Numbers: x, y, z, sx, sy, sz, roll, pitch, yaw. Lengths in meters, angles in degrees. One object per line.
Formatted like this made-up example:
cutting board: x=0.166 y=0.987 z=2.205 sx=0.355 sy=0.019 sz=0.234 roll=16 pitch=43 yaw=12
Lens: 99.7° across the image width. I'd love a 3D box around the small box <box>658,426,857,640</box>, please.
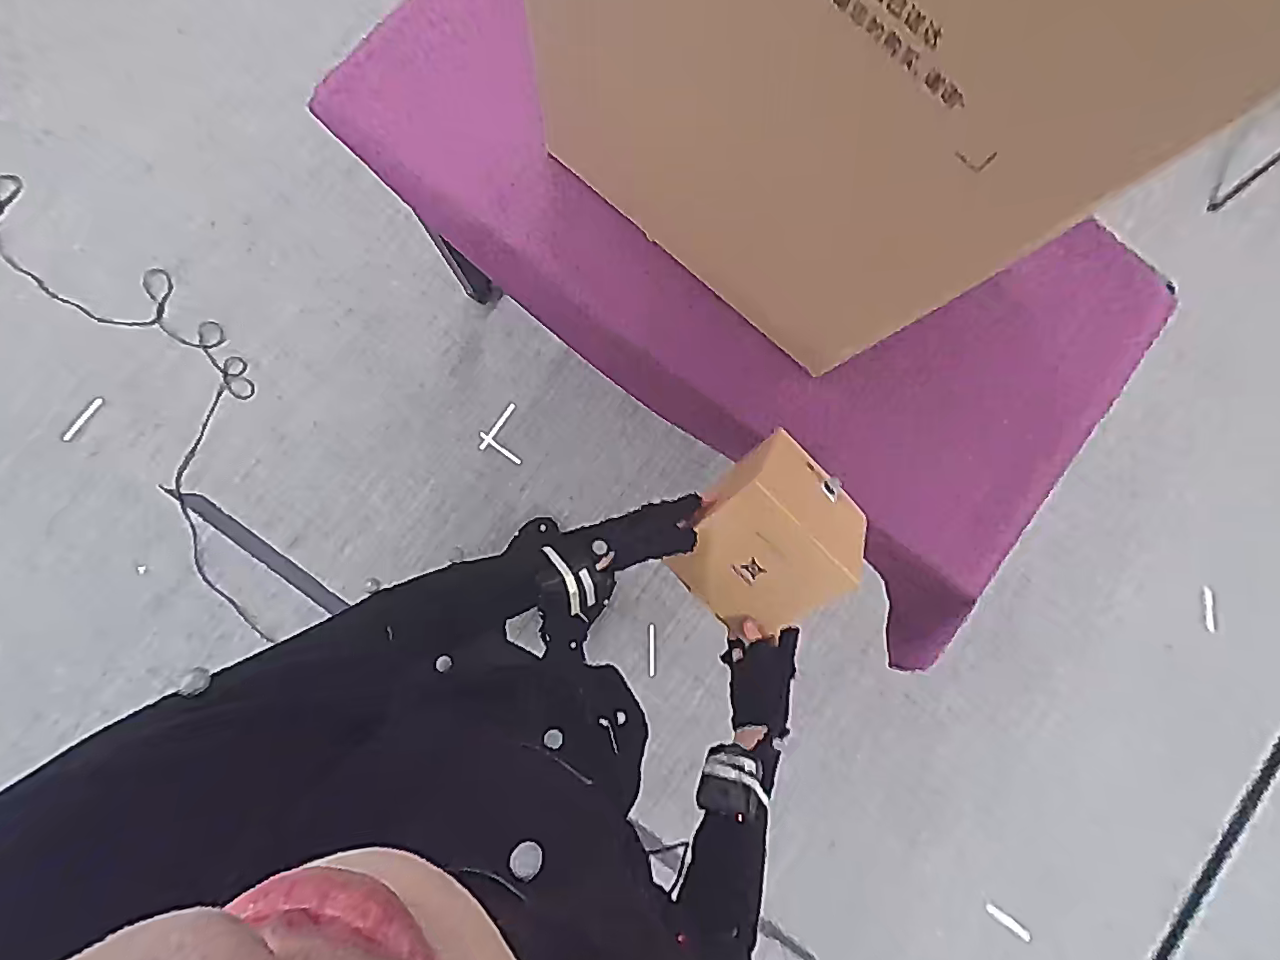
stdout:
small box: x=0.158 y=0.062 z=0.692 sx=0.168 sy=0.176 sz=0.179 roll=43 pitch=124 yaw=-2
